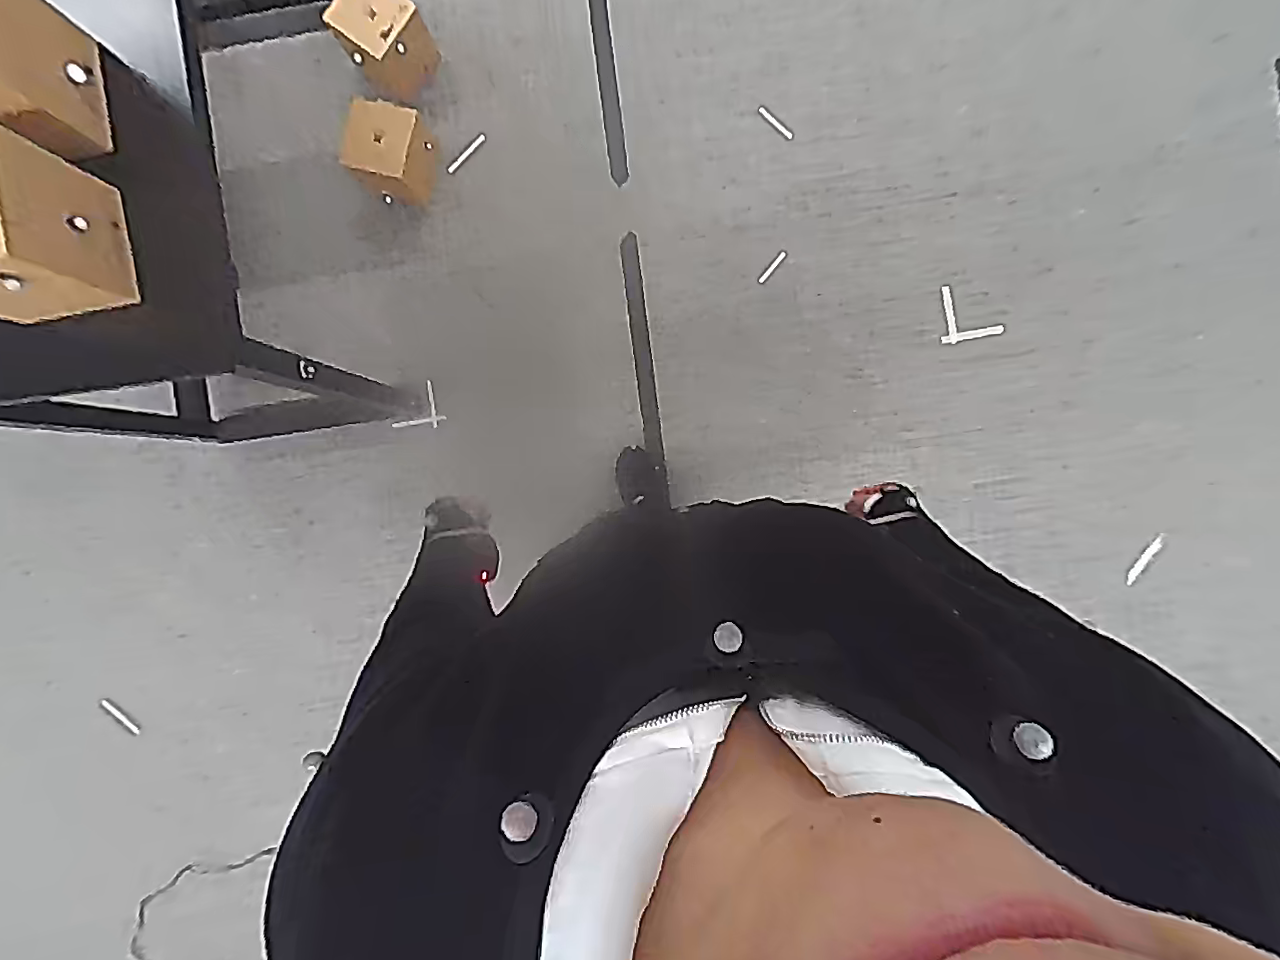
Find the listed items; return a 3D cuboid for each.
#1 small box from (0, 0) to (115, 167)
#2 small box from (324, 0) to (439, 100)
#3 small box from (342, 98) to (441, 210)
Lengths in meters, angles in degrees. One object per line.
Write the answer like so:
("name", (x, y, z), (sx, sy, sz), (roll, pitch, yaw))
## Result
("small box", (-0.852, -0.536, 0.700), (0.179, 0.176, 0.168), (-8, 91, 0))
("small box", (-0.665, -1.152, 1.414), (0.179, 0.176, 0.168), (35, 92, 0))
("small box", (-0.645, -0.849, 1.423), (0.168, 0.176, 0.179), (13, 92, 1))
